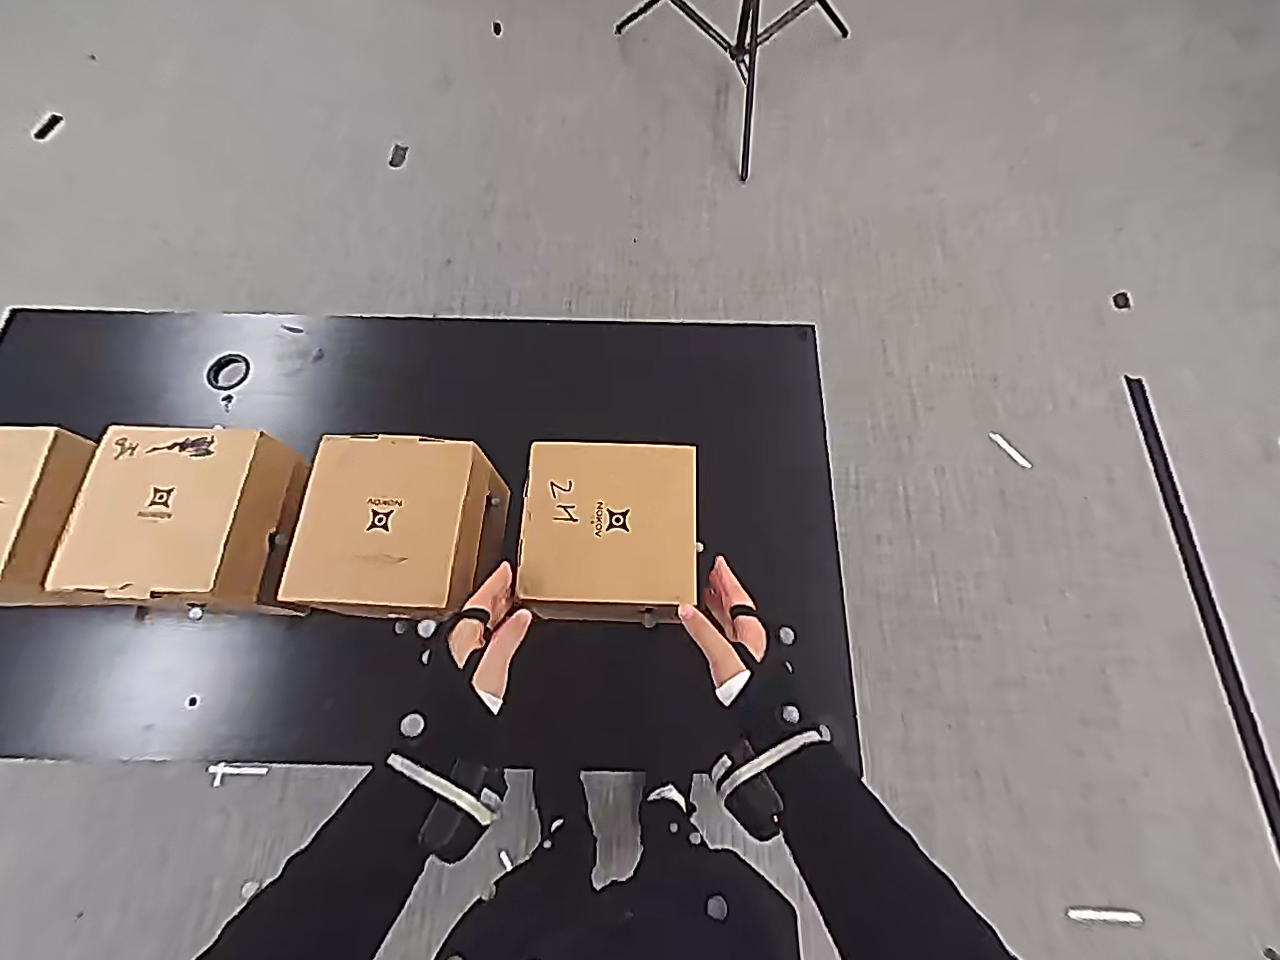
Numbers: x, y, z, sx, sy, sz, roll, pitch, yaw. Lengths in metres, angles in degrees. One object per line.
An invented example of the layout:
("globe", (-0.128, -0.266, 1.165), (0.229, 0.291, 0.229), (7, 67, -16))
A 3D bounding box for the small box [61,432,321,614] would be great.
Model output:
("small box", (-0.481, 0.059, 0.629), (0.168, 0.176, 0.179), (2, 70, 1))

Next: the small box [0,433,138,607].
("small box", (-0.696, 0.054, 0.628), (0.179, 0.176, 0.168), (0, 70, -1))

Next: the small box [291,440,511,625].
("small box", (-0.255, 0.068, 0.628), (0.168, 0.176, 0.179), (1, 70, 2))
